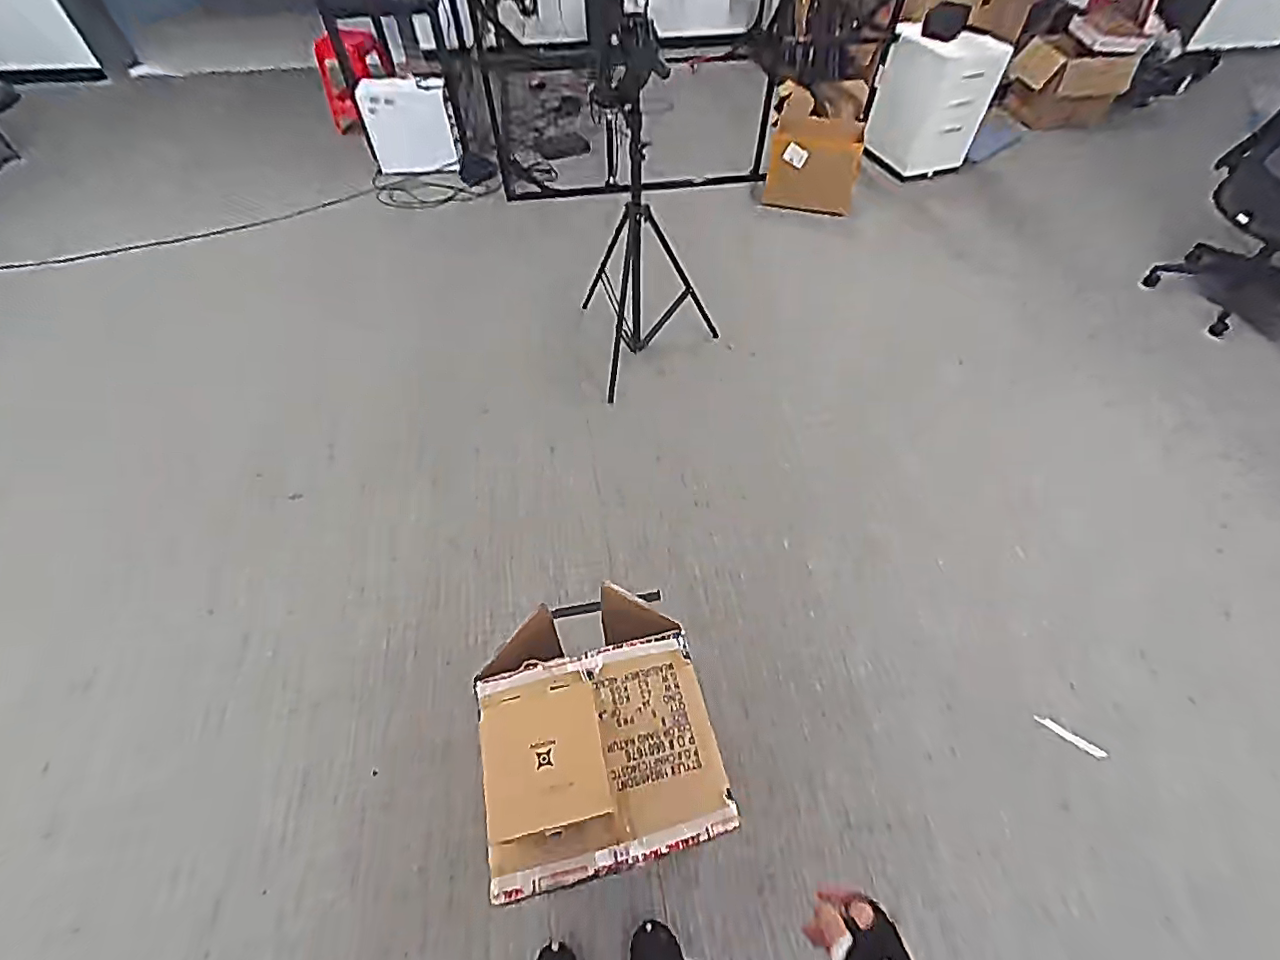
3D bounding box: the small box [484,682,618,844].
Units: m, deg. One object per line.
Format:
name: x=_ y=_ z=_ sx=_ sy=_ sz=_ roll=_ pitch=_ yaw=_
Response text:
small box: x=-0.131 y=0.429 z=0.817 sx=0.168 sy=0.176 sz=0.179 roll=-12 pitch=58 yaw=-7
